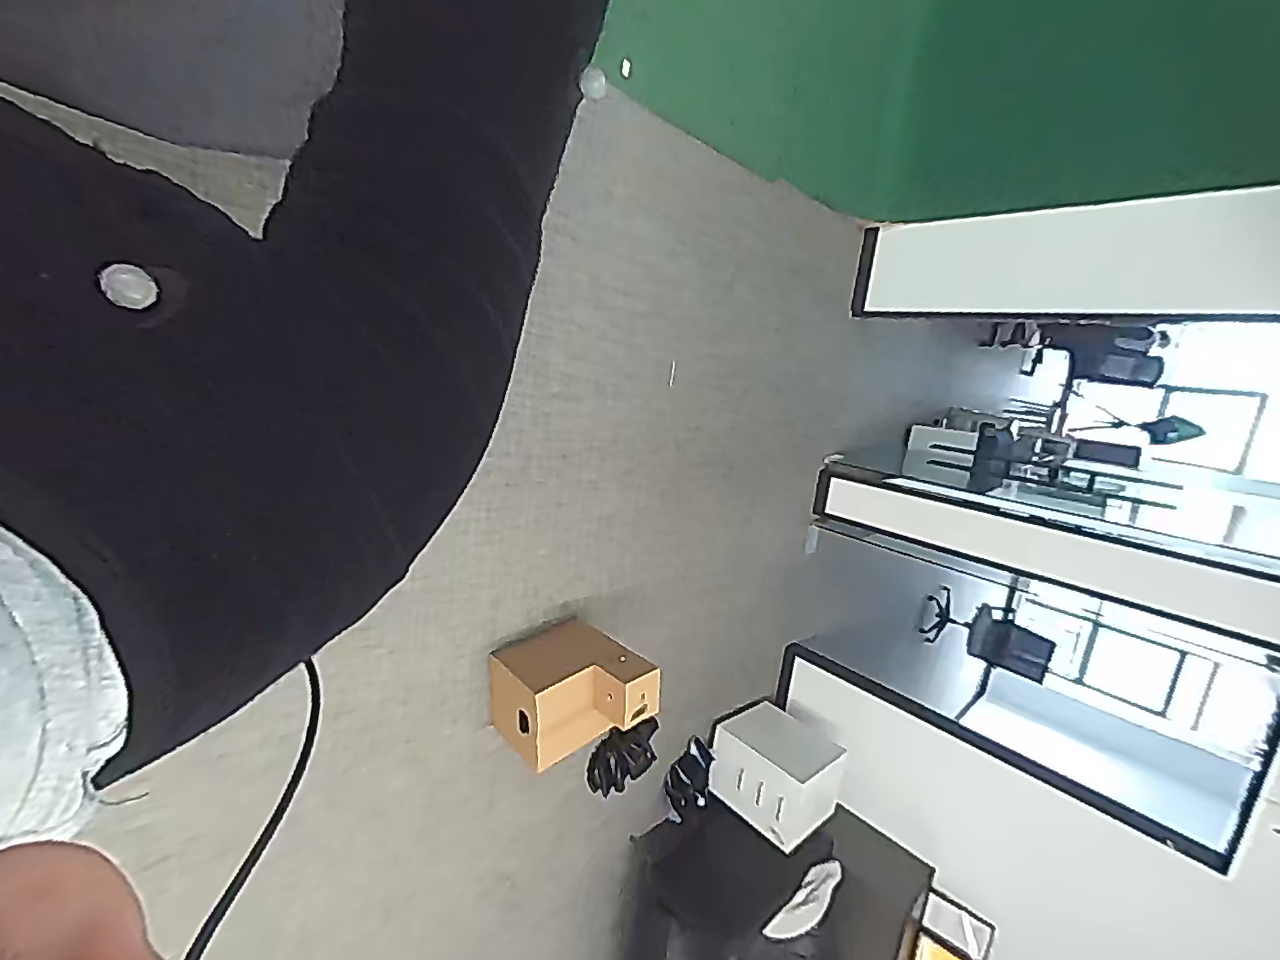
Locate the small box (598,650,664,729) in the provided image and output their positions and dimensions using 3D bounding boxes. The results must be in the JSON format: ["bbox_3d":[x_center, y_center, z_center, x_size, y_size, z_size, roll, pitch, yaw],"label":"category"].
[{"bbox_3d":[-0.033,0.727,1.896,0.168,0.176,0.179,-11,105,-44],"label":"small box"}]
